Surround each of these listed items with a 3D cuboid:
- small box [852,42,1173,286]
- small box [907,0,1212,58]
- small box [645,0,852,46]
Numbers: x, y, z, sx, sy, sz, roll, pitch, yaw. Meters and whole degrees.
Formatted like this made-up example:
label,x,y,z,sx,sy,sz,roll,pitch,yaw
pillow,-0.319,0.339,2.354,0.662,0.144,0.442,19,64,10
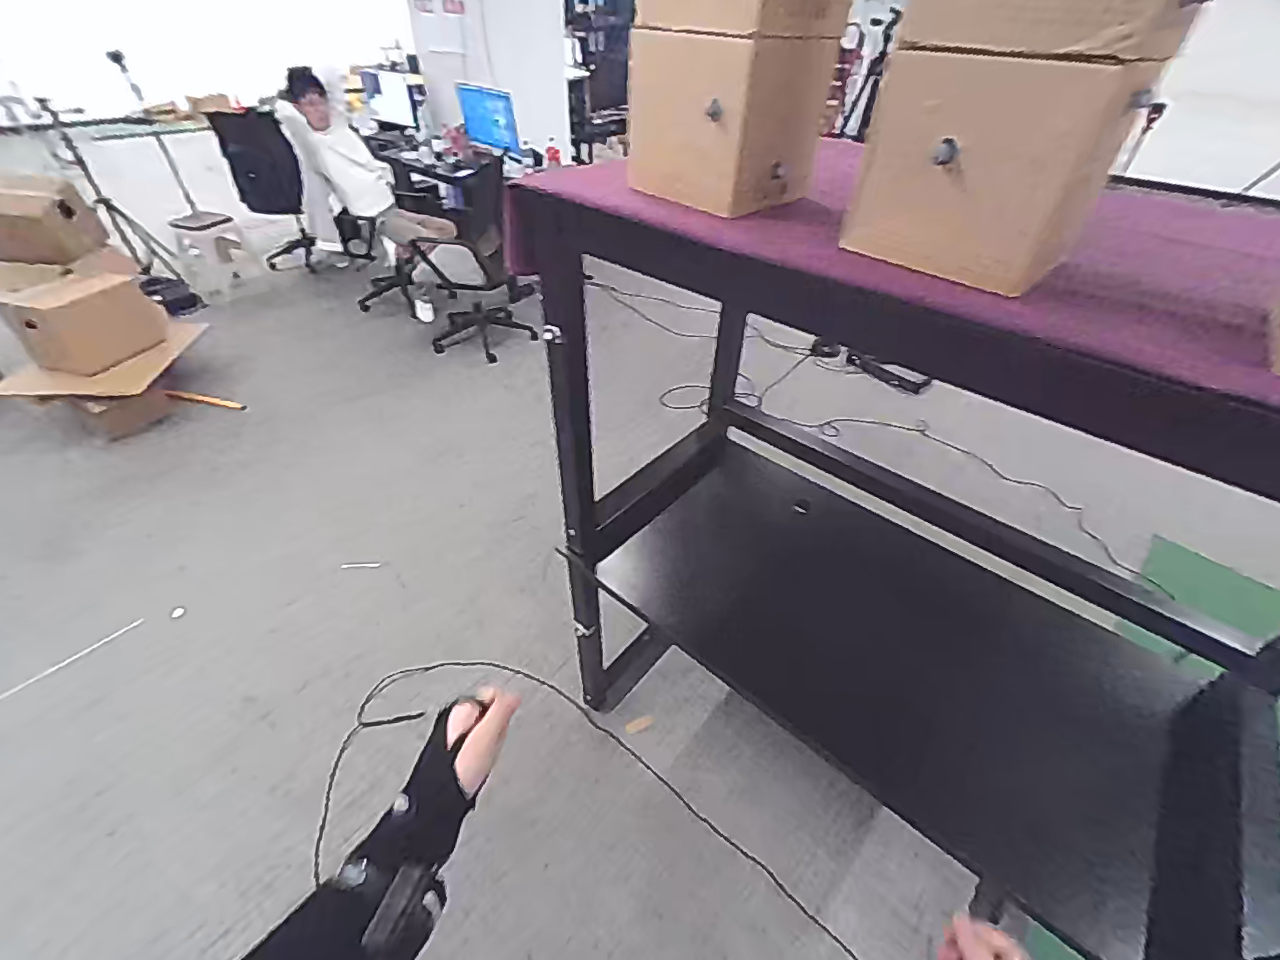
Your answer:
label,x,y,z,sx,sy,sz,roll,pitch,yaw
small box,0.328,-0.297,0.504,0.168,0.176,0.179,-32,50,-33
small box,0.333,-0.421,0.397,0.168,0.176,0.179,-31,51,-32
small box,0.119,-0.566,0.560,0.168,0.176,0.179,-31,52,-33
